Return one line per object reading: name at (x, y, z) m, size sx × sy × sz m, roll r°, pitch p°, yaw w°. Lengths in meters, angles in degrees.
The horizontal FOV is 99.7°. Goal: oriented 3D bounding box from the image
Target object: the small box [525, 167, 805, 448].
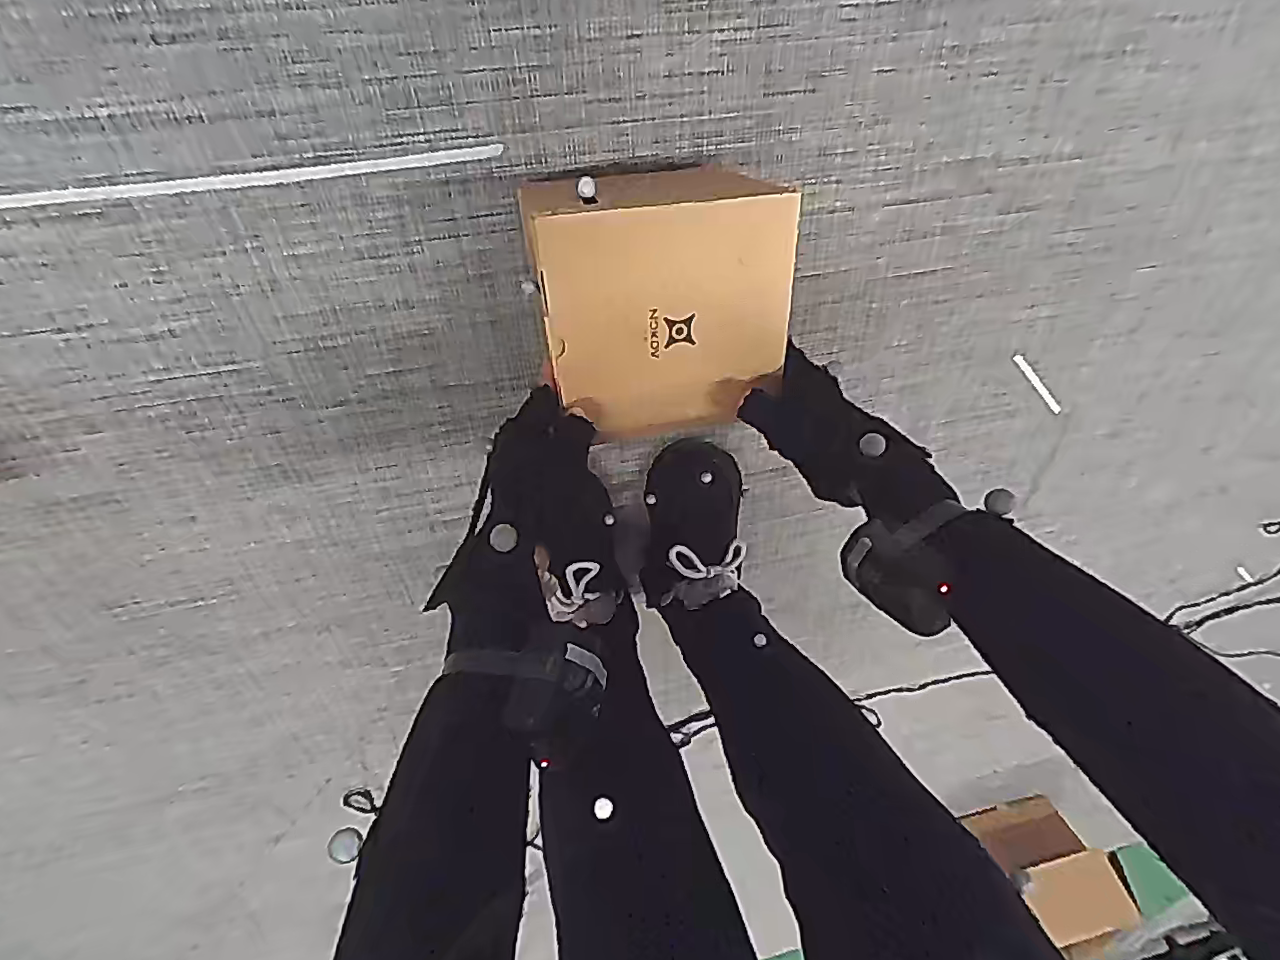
small box at (0.008, -0.148, 0.440) m, size 0.179 × 0.176 × 0.168 m, roll -9°, pitch 126°, yaw -7°
